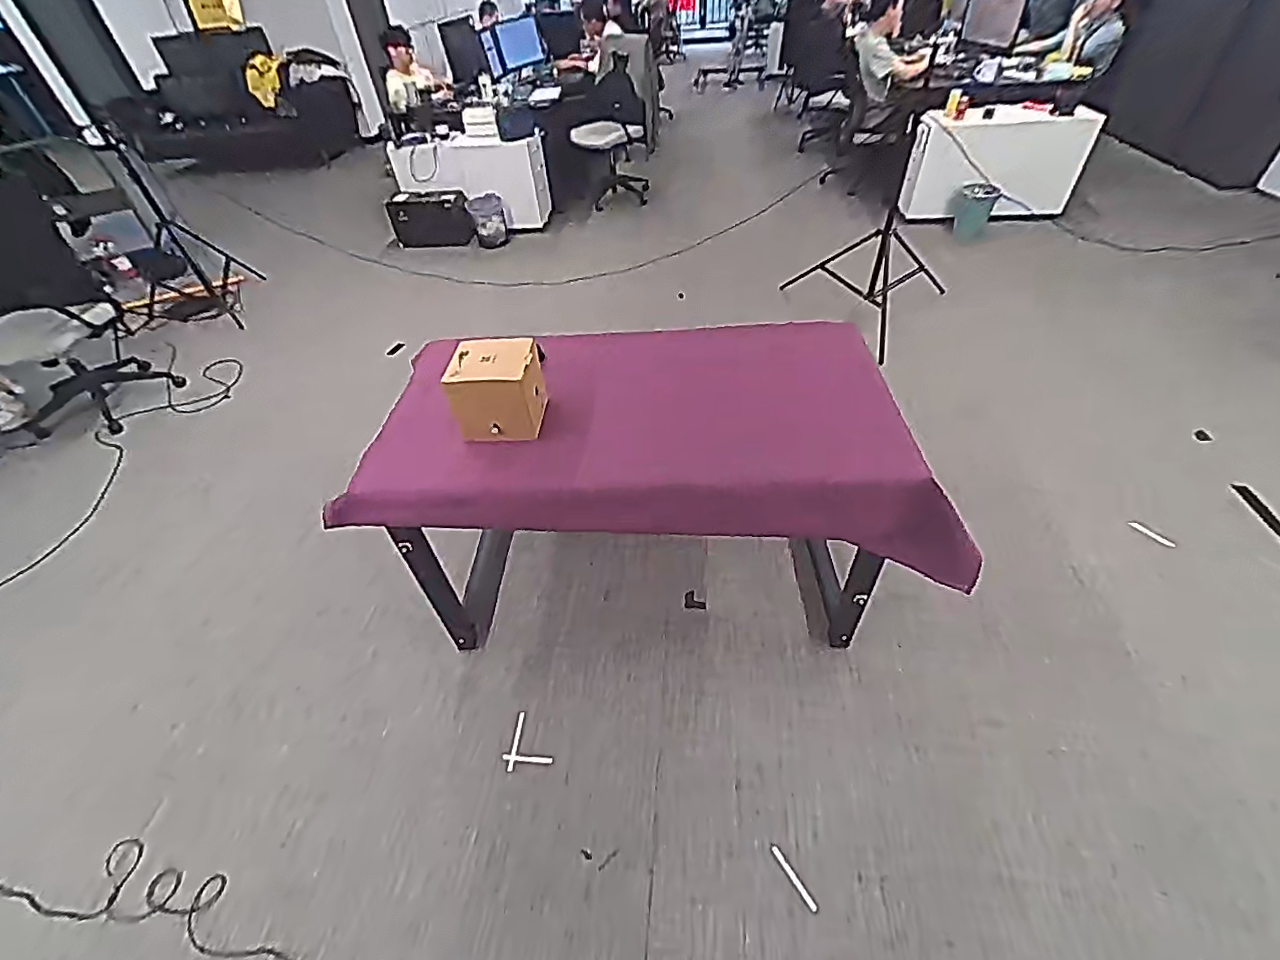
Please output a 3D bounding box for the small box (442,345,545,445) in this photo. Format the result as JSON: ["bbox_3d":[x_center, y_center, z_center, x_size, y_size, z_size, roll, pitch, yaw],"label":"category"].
[{"bbox_3d":[-0.323,-0.192,1.242,0.179,0.176,0.168,-1,44,3],"label":"small box"}]
